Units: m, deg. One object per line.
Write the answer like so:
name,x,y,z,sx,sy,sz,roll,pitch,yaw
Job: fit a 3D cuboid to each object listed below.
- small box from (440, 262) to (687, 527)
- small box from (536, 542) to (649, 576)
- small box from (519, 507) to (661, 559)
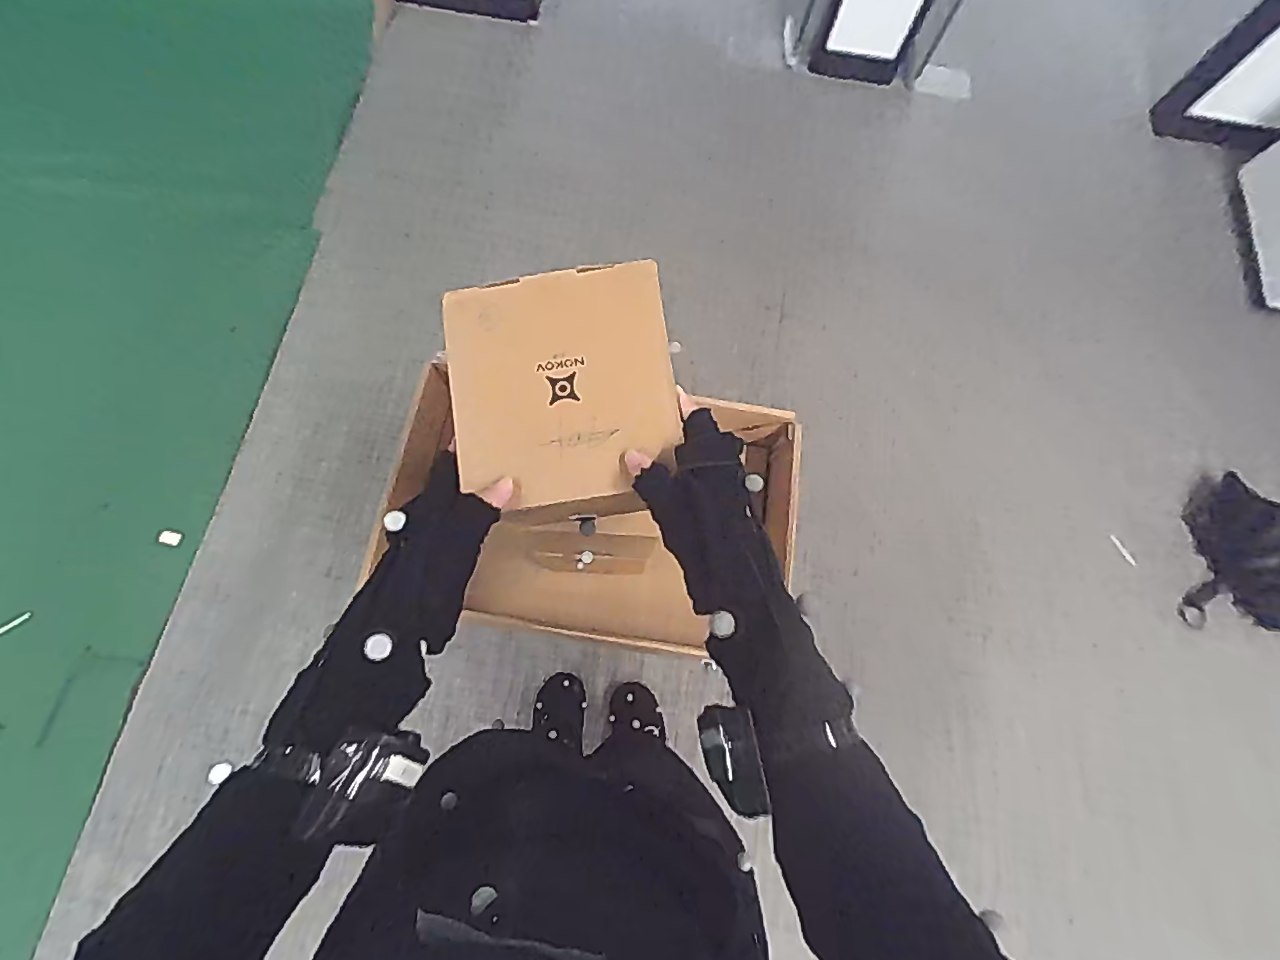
small box,-0.057,-0.059,0.478,0.168,0.176,0.179,-10,83,1
small box,-0.068,0.052,0.873,0.168,0.176,0.179,3,72,-1
small box,-0.058,0.001,0.717,0.168,0.176,0.179,4,74,-1
